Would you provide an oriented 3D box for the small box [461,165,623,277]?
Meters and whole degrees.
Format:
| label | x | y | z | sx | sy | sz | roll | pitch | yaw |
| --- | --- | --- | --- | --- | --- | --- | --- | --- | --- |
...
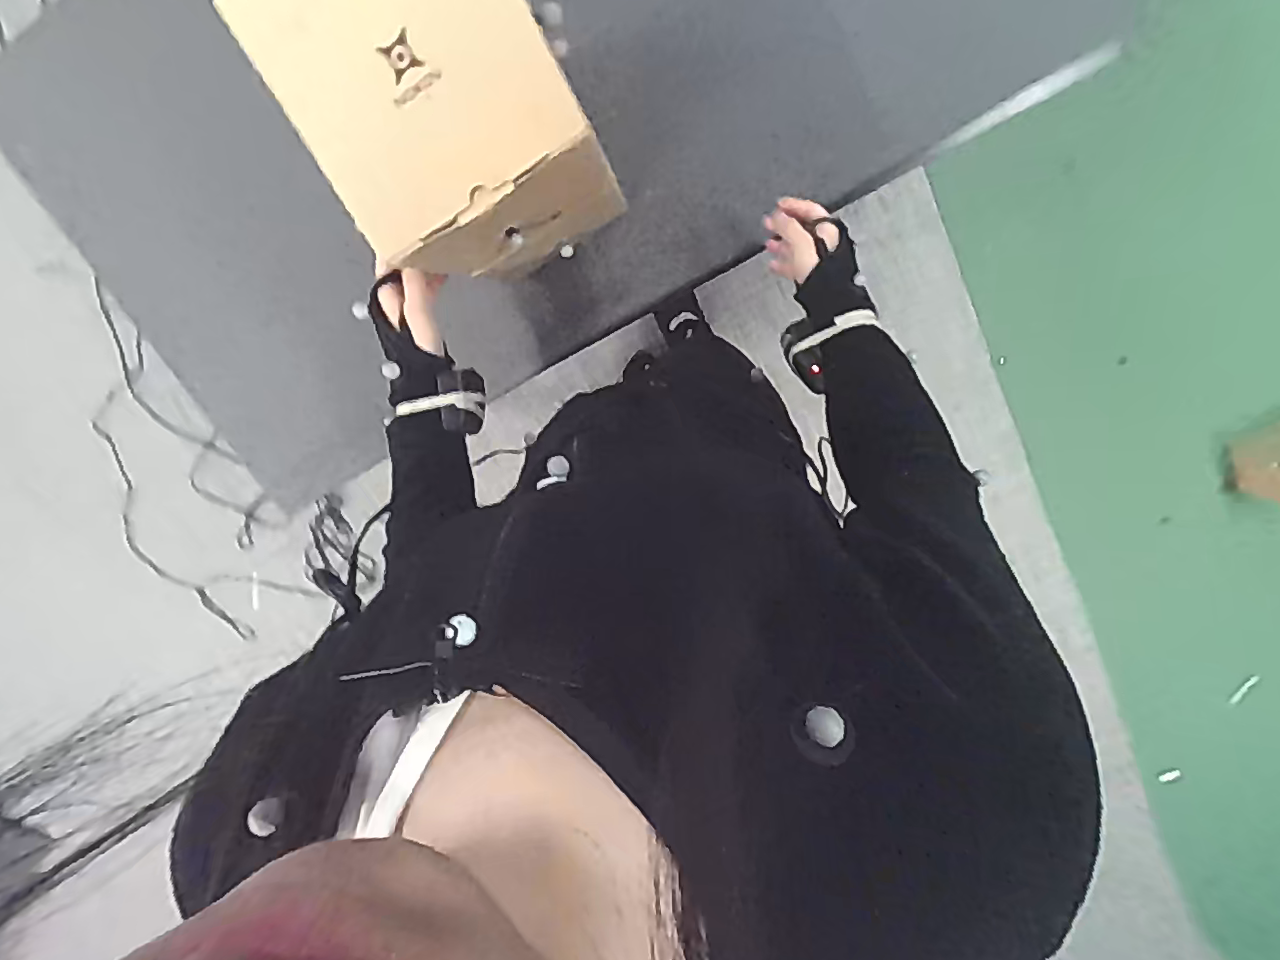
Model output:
| label | x | y | z | sx | sy | sz | roll | pitch | yaw |
| --- | --- | --- | --- | --- | --- | --- | --- | --- | --- |
| small box | -0.132 | -0.329 | 0.559 | 0.168 | 0.176 | 0.179 | -28 | 105 | 12 |

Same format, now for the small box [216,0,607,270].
| label | x | y | z | sx | sy | sz | roll | pitch | yaw |
| --- | --- | --- | --- | --- | --- | --- | --- | --- | --- |
| small box | -0.141 | -0.279 | 0.405 | 0.168 | 0.176 | 0.179 | -28 | 105 | 11 |
